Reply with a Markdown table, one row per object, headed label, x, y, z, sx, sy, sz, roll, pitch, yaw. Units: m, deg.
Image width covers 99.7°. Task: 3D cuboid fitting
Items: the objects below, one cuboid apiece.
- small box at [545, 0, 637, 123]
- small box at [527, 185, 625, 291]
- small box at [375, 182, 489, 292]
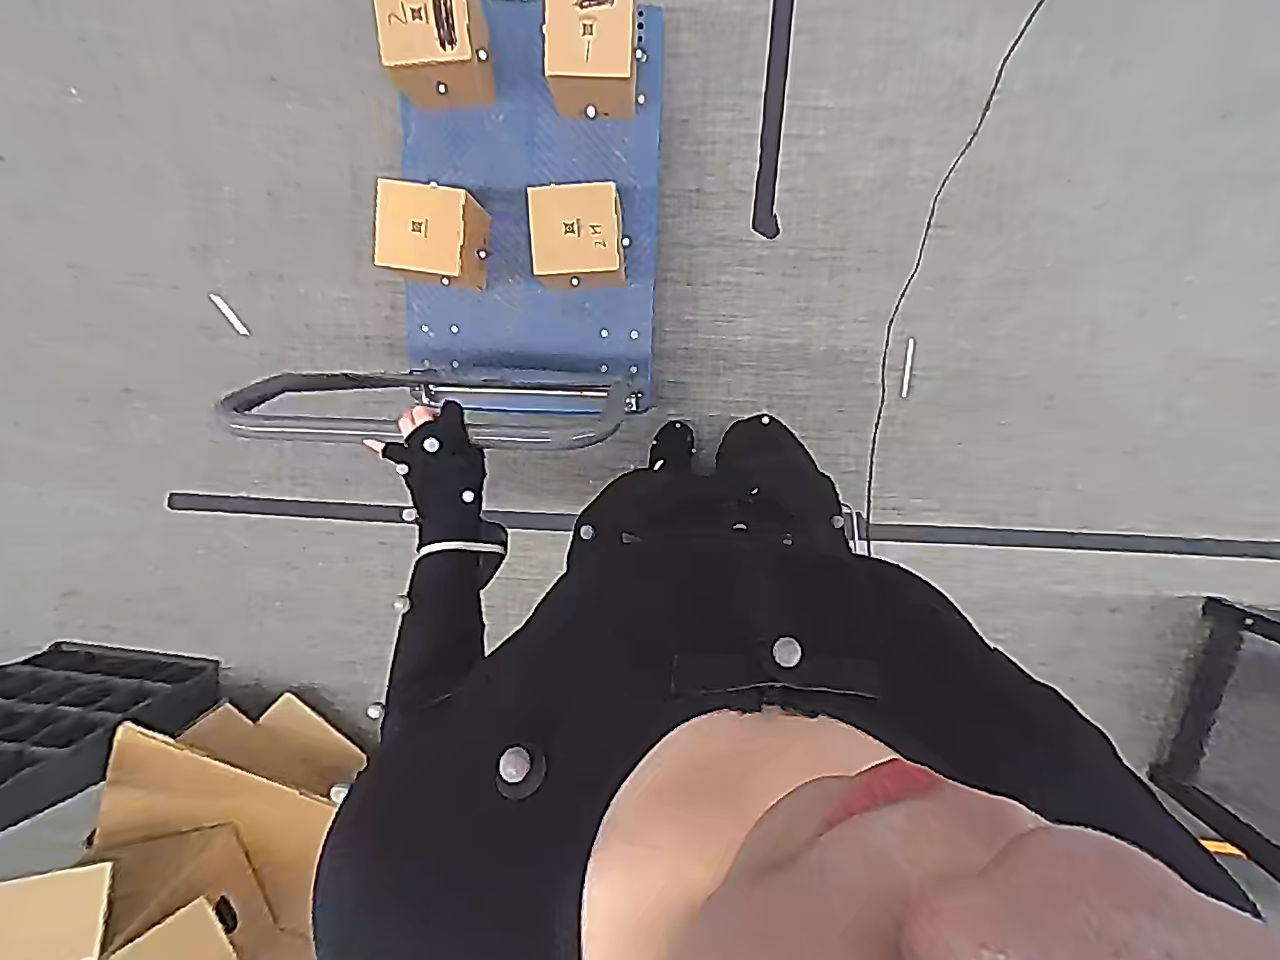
| label | x | y | z | sx | sy | sz | roll | pitch | yaw |
| --- | --- | --- | --- | --- | --- | --- | --- | --- | --- |
| small box | -0.092 | -0.854 | 1.083 | 0.168 | 0.176 | 0.179 | 3 | 101 | 1 |
| small box | -0.128 | -0.502 | 1.143 | 0.179 | 0.176 | 0.168 | -2 | 100 | 2 |
| small box | -0.436 | -0.508 | 1.152 | 0.179 | 0.176 | 0.168 | 7 | 99 | -2 |
